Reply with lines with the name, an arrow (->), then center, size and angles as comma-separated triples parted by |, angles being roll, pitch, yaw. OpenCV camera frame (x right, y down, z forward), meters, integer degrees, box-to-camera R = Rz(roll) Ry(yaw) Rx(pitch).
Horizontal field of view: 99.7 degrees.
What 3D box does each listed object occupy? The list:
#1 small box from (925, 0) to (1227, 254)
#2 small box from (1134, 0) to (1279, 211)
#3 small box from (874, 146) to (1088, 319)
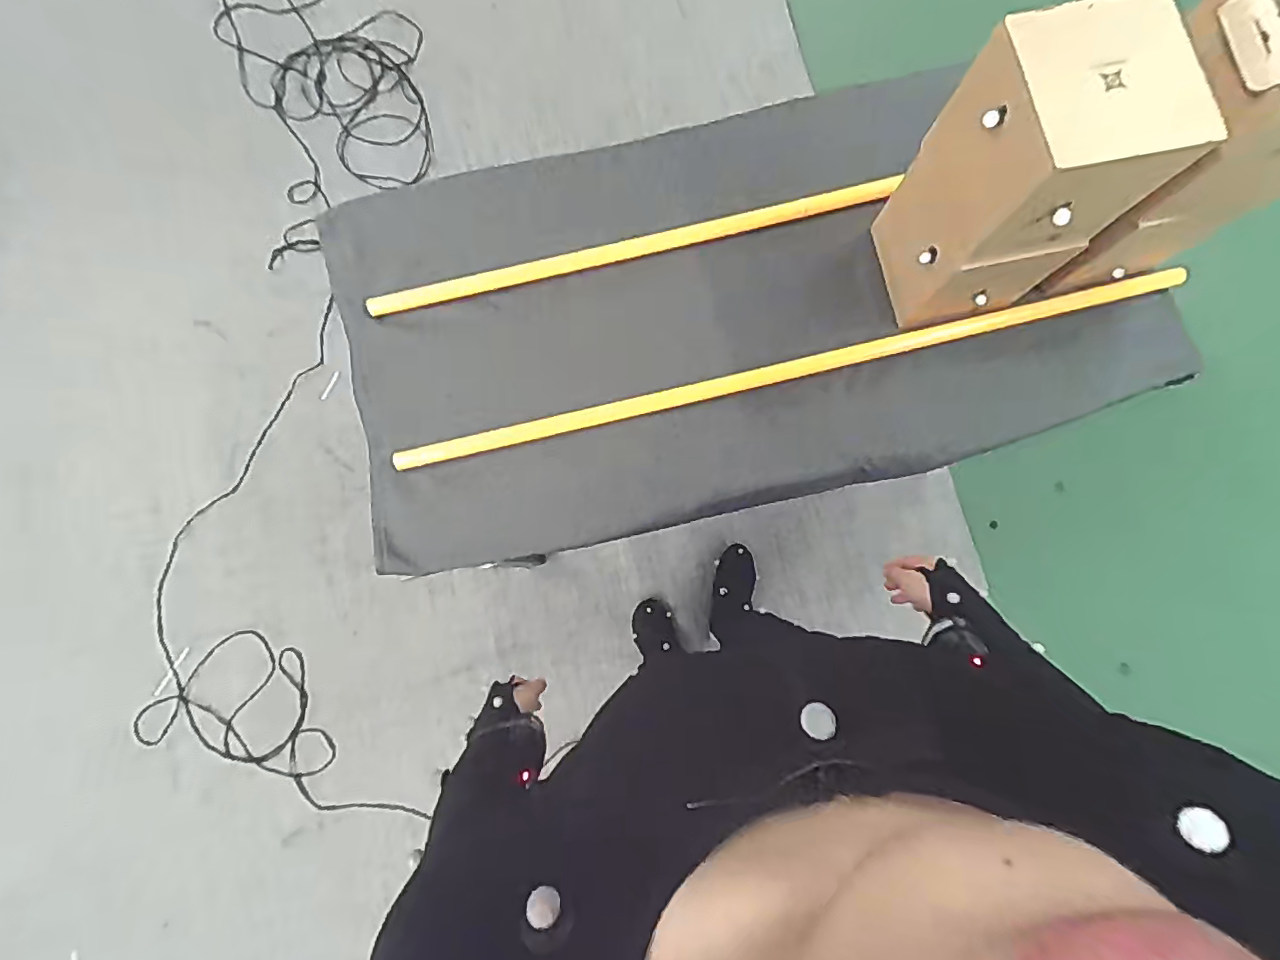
small box -> 0.447, -0.371, 0.589 | 0.168, 0.176, 0.179 | -11, 80, 0
small box -> 0.671, -0.422, 0.590 | 0.179, 0.176, 0.168 | -9, 81, -1
small box -> 0.453, -0.340, 0.749 | 0.168, 0.176, 0.179 | -11, 80, -1
